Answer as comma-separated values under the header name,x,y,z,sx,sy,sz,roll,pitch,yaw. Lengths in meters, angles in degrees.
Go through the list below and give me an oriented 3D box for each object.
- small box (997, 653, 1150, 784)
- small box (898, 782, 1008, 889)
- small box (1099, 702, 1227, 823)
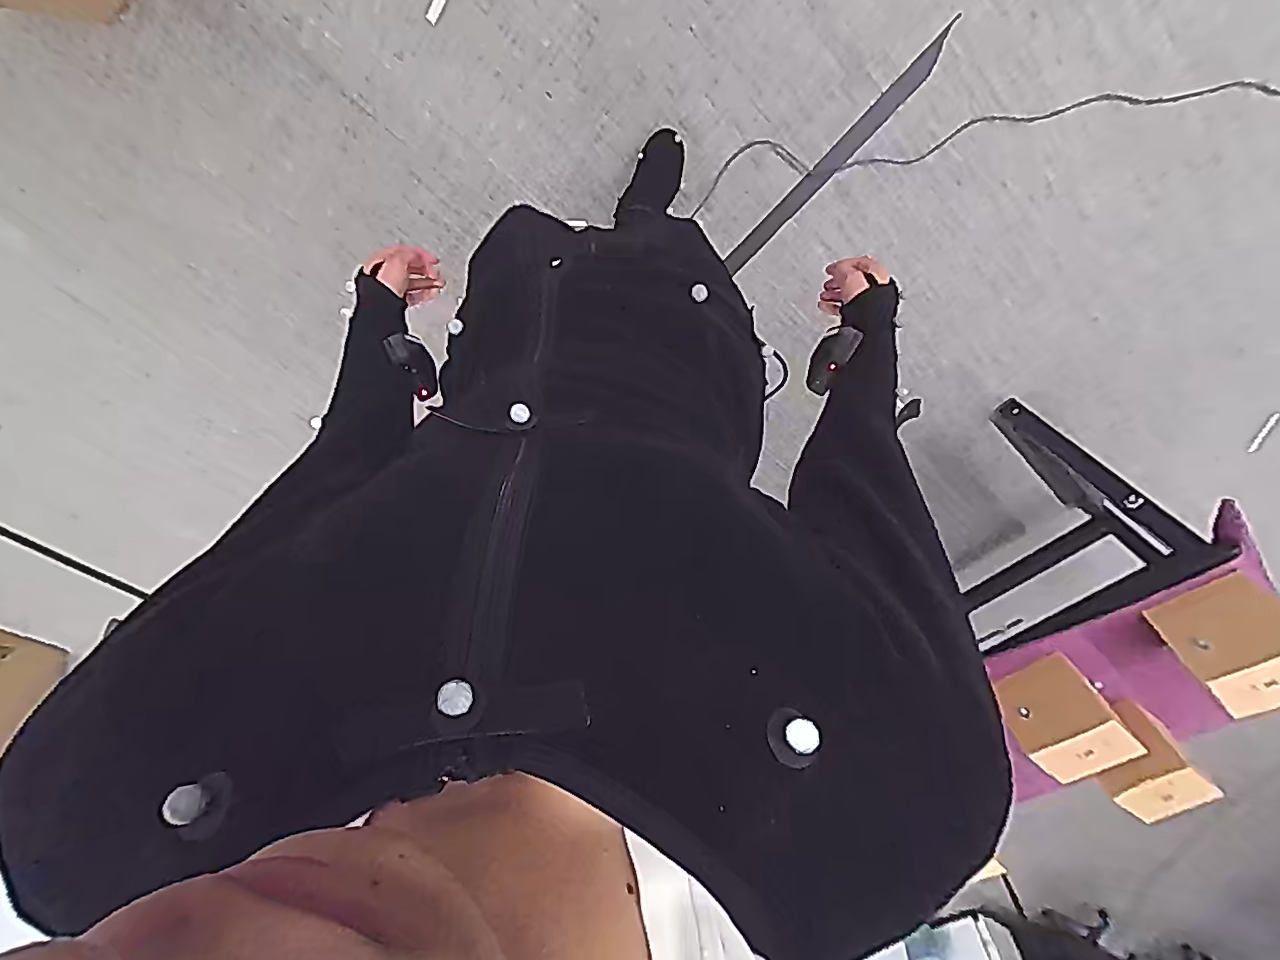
name,x,y,z,sx,sy,sz,roll,pitch,yaw
small box,0.907,0.507,1.154,0.168,0.176,0.179,38,117,-21
small box,0.826,0.943,1.440,0.168,0.176,0.179,-36,114,21
small box,1.154,0.642,1.239,0.179,0.176,0.168,35,117,-19
